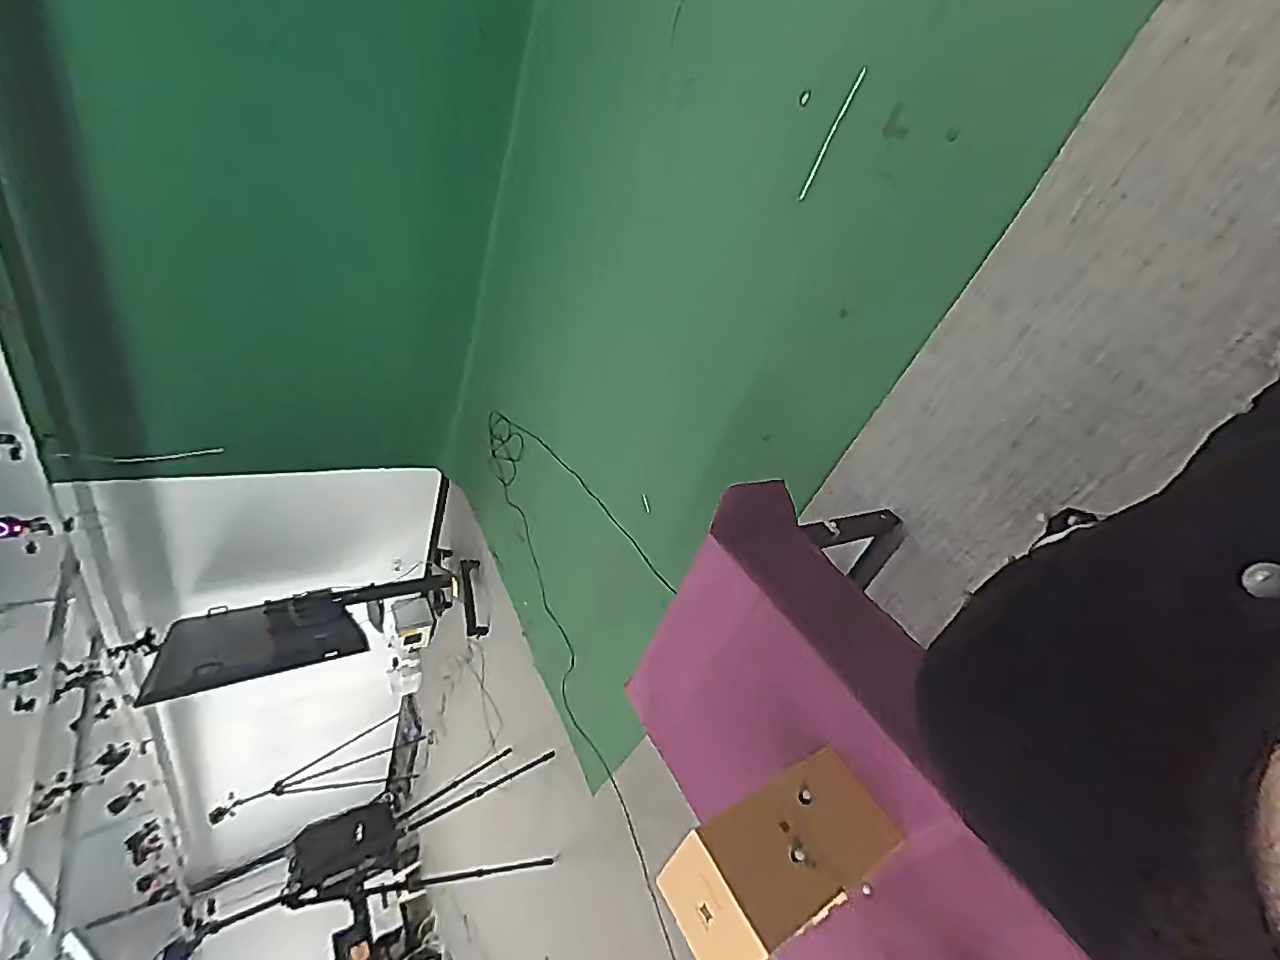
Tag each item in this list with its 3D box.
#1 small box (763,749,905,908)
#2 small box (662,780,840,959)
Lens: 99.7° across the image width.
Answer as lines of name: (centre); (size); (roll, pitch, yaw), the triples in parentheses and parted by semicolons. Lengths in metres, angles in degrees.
small box: (0.299, 0.586, 0.915); (0.179, 0.176, 0.168); (50, 132, 38)
small box: (0.166, 0.600, 0.820); (0.168, 0.176, 0.179); (49, 130, 38)
